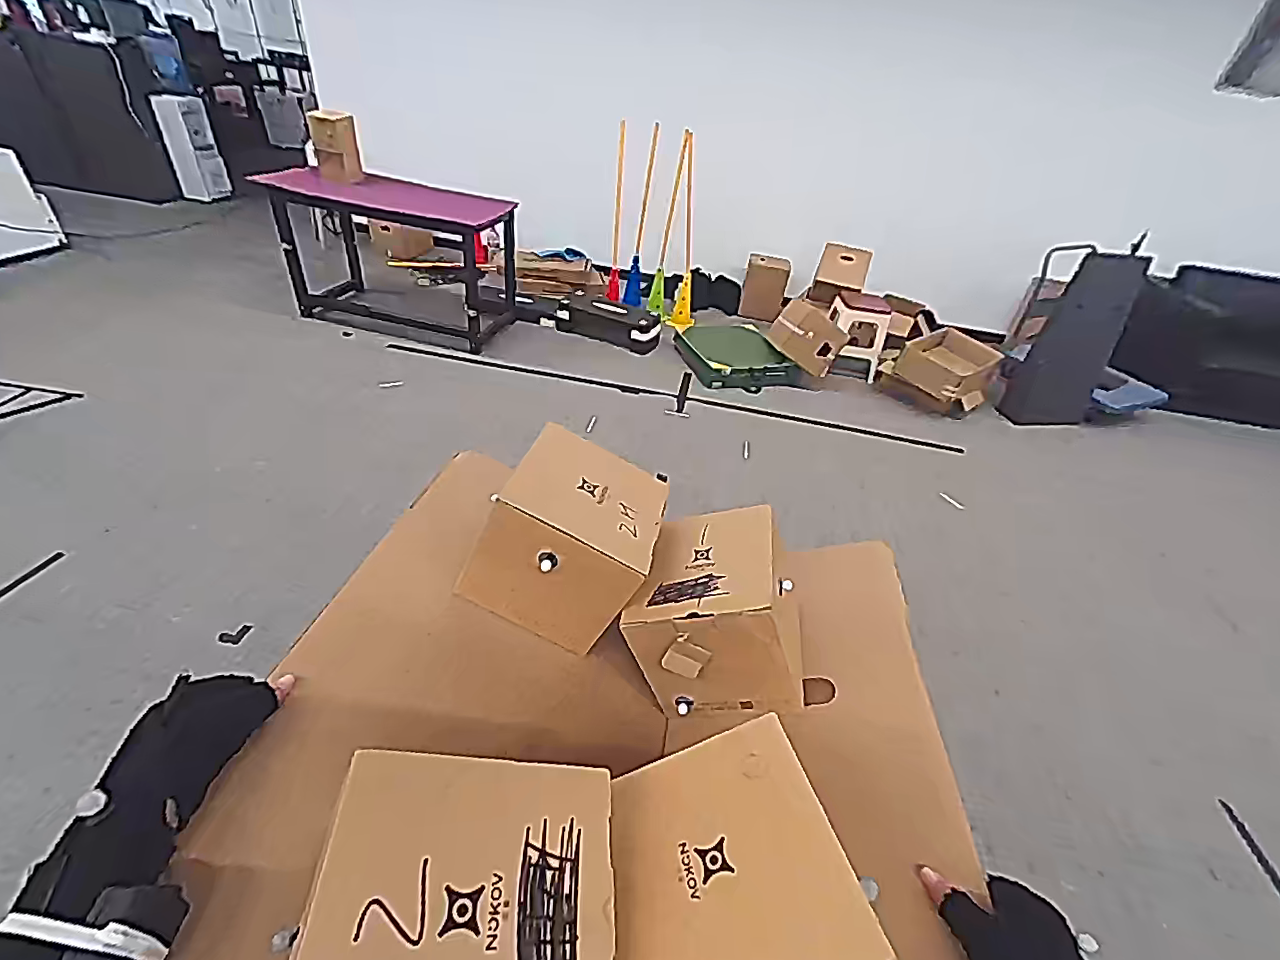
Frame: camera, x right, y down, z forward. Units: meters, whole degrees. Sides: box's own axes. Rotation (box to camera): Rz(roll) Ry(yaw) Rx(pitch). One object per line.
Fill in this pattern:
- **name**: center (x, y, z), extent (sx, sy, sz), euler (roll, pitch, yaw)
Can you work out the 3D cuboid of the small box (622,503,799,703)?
- **small box**: center (0.097, 0.156, 0.668), extent (0.168, 0.176, 0.179), euler (-11, 30, 20)
